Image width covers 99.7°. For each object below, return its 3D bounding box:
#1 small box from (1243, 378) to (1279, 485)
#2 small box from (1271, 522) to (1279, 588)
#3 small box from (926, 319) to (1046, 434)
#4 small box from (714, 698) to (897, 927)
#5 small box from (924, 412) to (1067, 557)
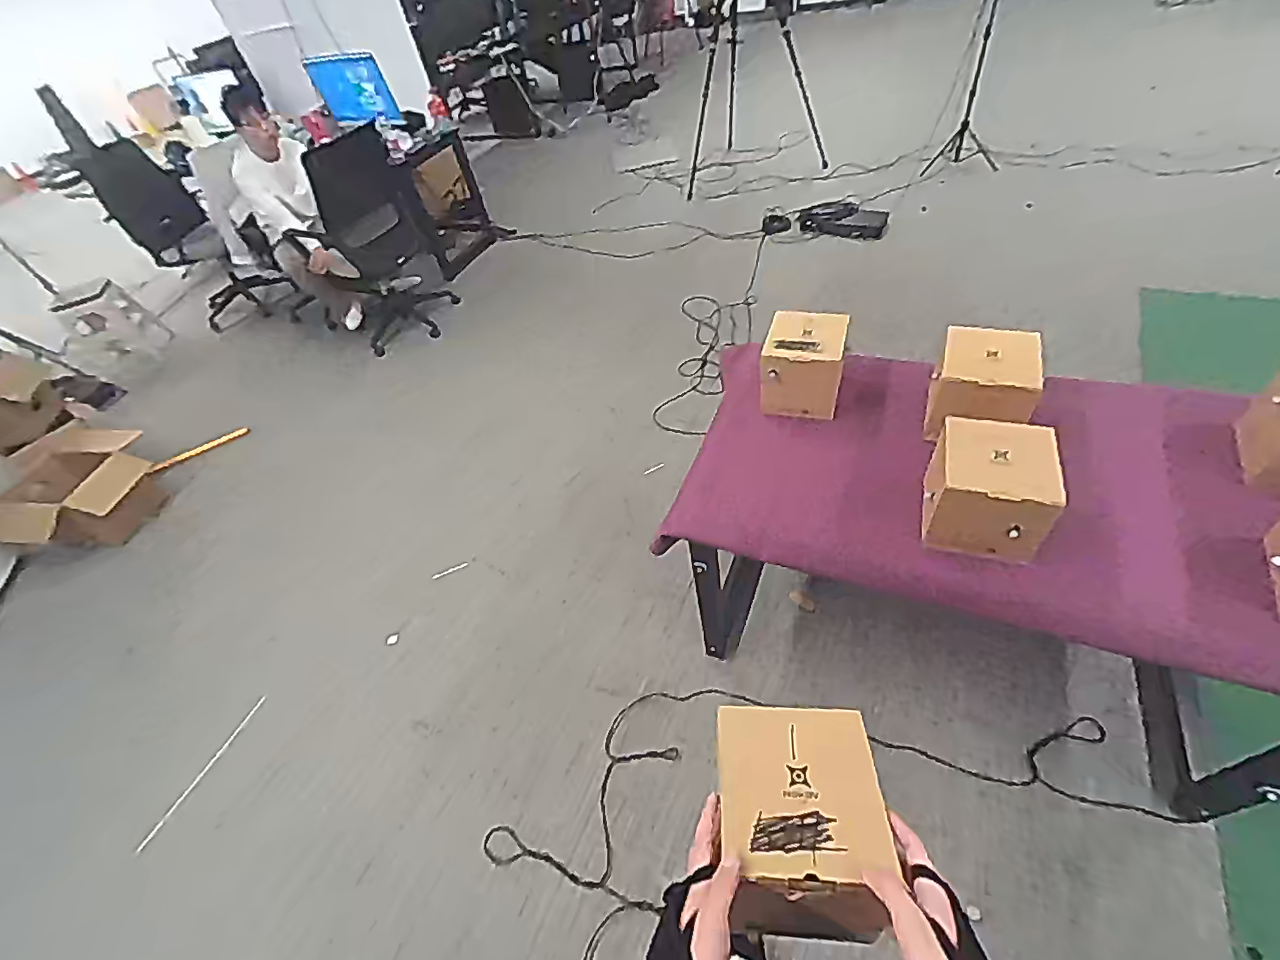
[{"bbox_3d":[1.161,-0.092,0.894,0.168,0.176,0.179,16,56,26],"label":"small box"},{"bbox_3d":[1.042,0.107,0.744,0.168,0.176,0.179,17,54,26],"label":"small box"},{"bbox_3d":[0.694,-0.199,1.097,0.168,0.176,0.179,12,54,22],"label":"small box"},{"bbox_3d":[0.170,0.372,0.610,0.168,0.176,0.179,-2,37,7],"label":"small box"},{"bbox_3d":[0.601,0.009,0.934,0.168,0.176,0.179,10,51,20],"label":"small box"}]
